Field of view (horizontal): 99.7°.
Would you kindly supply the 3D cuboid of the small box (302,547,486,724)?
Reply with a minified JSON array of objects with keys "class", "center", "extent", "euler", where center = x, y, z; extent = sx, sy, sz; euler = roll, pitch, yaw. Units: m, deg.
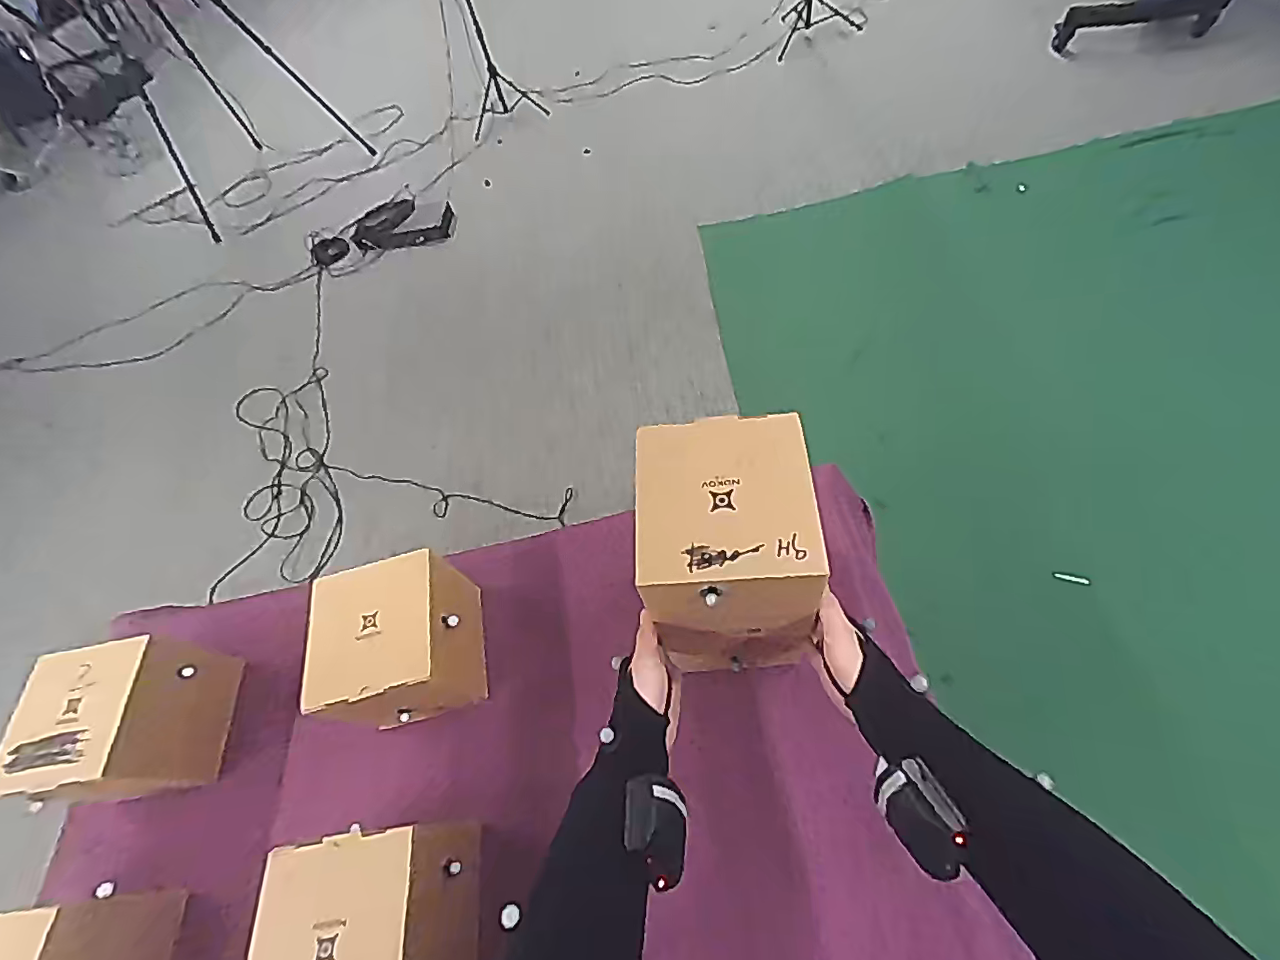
[{"class":"small box","center":[-0.325,0.220,0.748],"extent":[0.168,0.176,0.179],"euler":[-15,59,1]}]

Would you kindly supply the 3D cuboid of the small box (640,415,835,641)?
[{"class":"small box","center":[0.094,0.056,0.566],"extent":[0.168,0.176,0.179],"euler":[-5,57,8]}]

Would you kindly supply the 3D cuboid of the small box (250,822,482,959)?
[{"class":"small box","center":[-0.283,0.483,0.586],"extent":[0.168,0.176,0.179],"euler":[-12,58,5]}]

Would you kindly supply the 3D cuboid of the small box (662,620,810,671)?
[{"class":"small box","center":[0.115,0.138,0.707],"extent":[0.168,0.176,0.179],"euler":[-7,58,7]}]

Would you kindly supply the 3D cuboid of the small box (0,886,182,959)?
[{"class":"small box","center":[-0.672,0.576,0.601],"extent":[0.168,0.176,0.179],"euler":[-9,57,5]}]
